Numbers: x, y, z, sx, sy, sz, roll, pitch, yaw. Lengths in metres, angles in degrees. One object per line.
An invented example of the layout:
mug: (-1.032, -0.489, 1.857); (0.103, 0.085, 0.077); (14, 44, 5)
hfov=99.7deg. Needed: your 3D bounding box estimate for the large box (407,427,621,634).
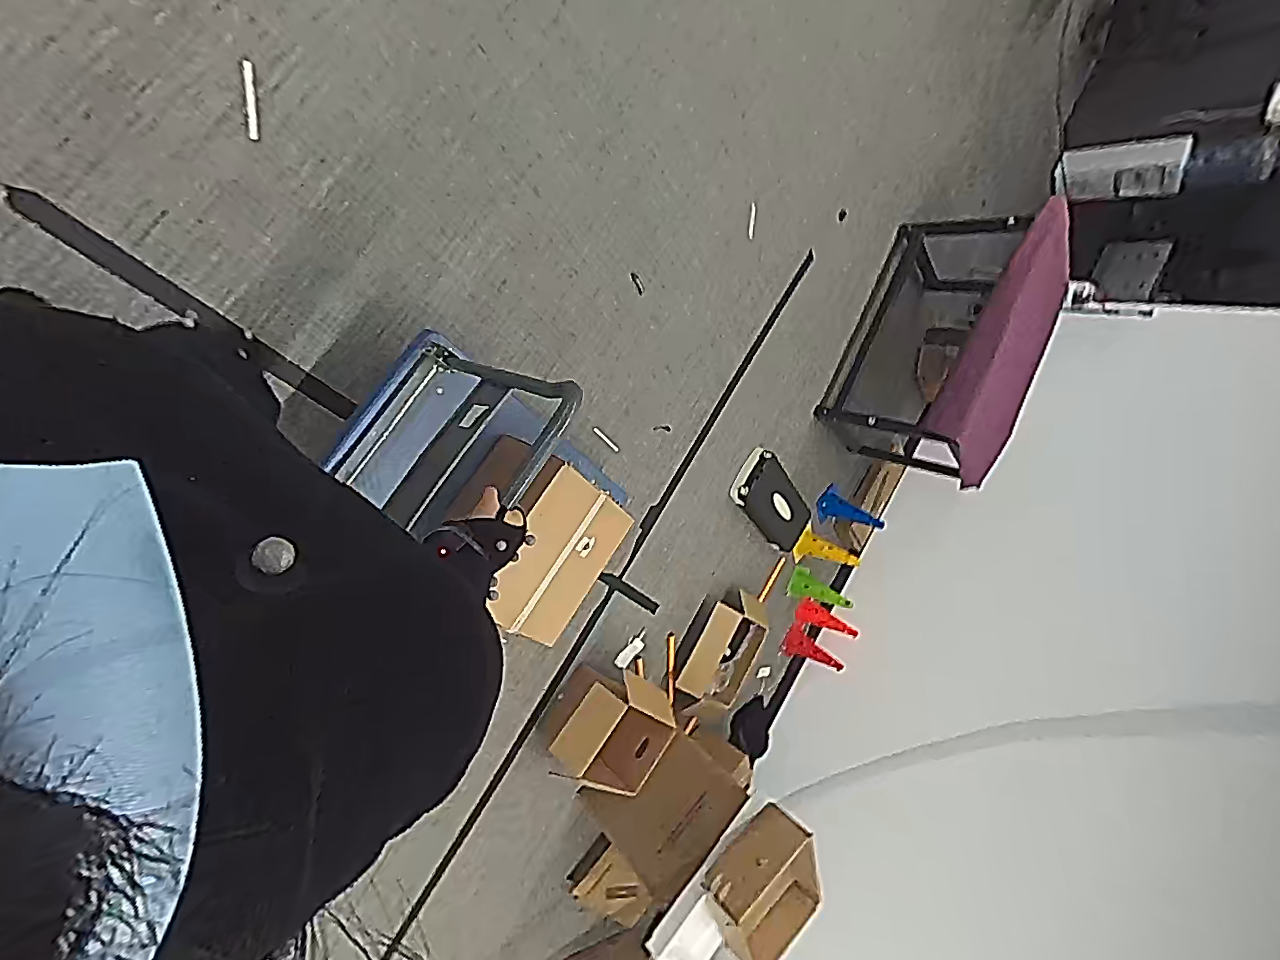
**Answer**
large box: (-0.333, 0.128, 1.443); (0.408, 0.320, 0.320); (-57, 136, -12)
